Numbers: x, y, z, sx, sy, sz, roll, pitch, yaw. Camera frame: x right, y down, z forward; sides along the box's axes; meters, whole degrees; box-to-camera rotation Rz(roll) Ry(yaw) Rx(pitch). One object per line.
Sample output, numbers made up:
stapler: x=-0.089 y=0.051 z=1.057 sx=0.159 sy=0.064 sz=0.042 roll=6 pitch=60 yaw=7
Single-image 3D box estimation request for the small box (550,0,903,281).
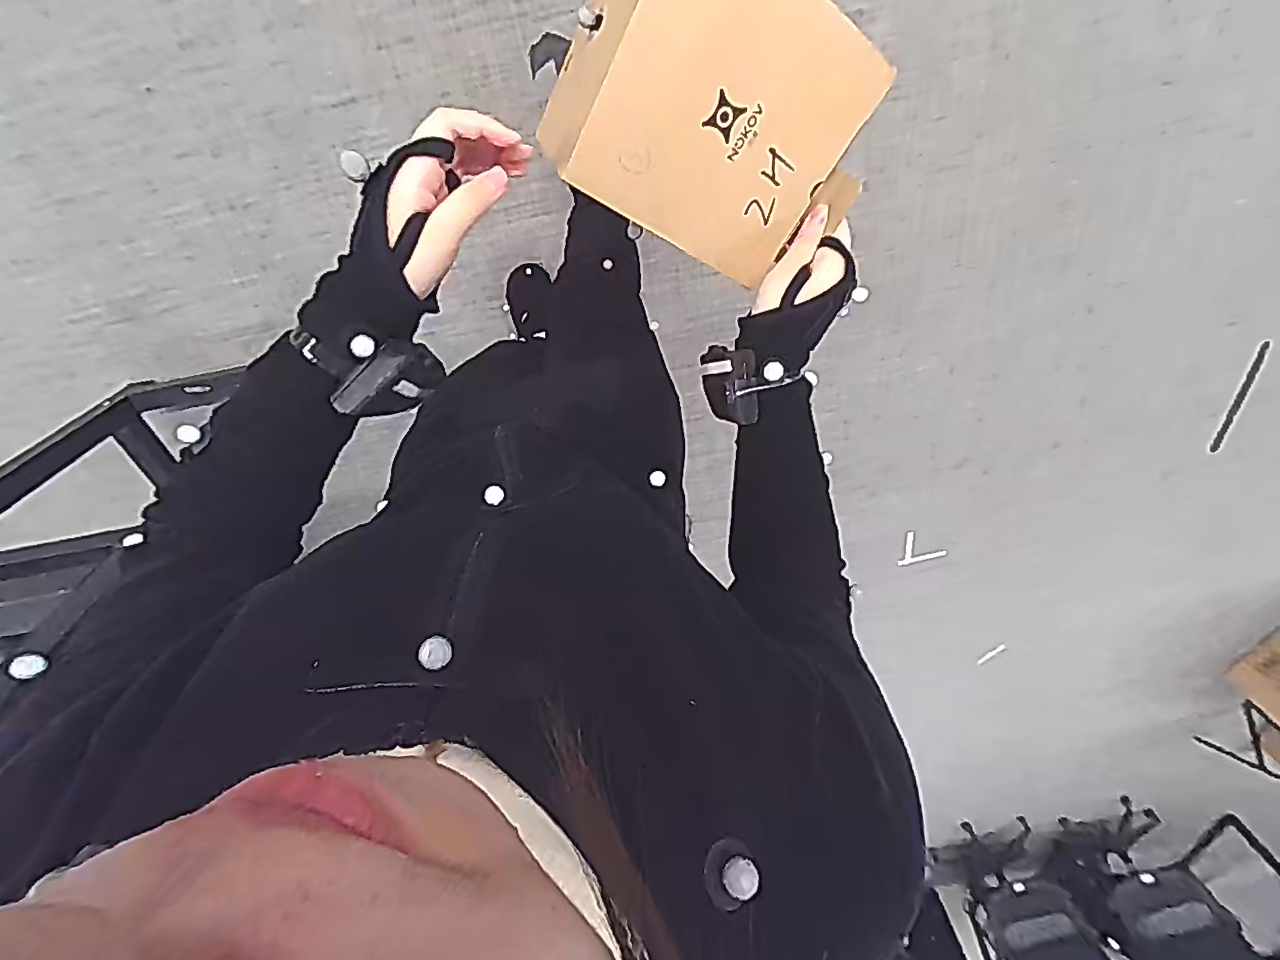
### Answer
small box: x=0.044 y=-0.288 z=0.411 sx=0.179 sy=0.176 sz=0.168 roll=17 pitch=124 yaw=-29
